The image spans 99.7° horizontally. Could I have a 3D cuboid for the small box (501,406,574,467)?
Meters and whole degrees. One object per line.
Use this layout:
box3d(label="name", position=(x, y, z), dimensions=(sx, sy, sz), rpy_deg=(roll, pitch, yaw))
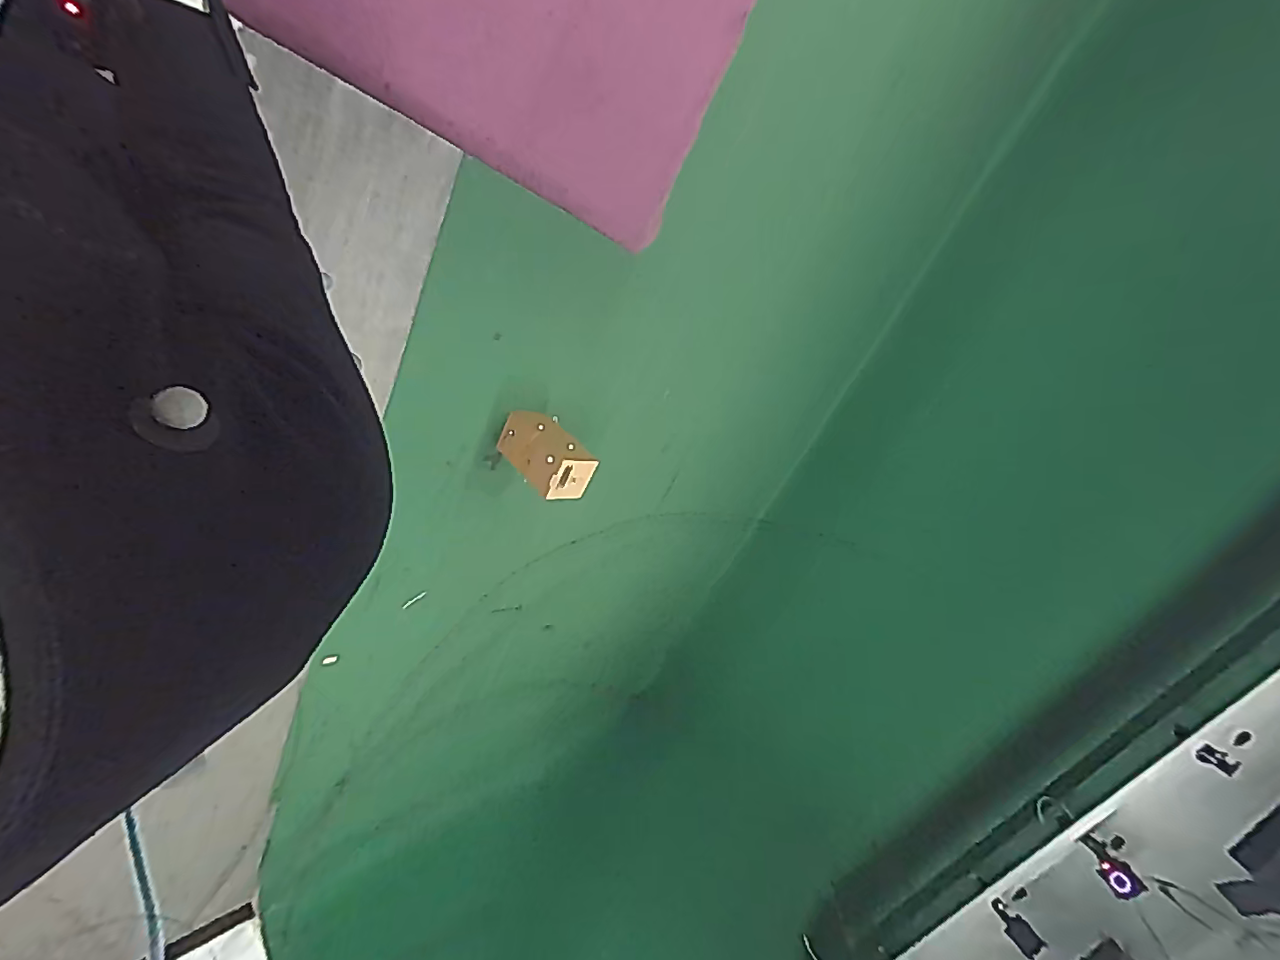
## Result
box3d(label="small box", position=(-0.387, -0.162, 2.021), dimensions=(0.179, 0.176, 0.168), rpy_deg=(0, 126, -50))
